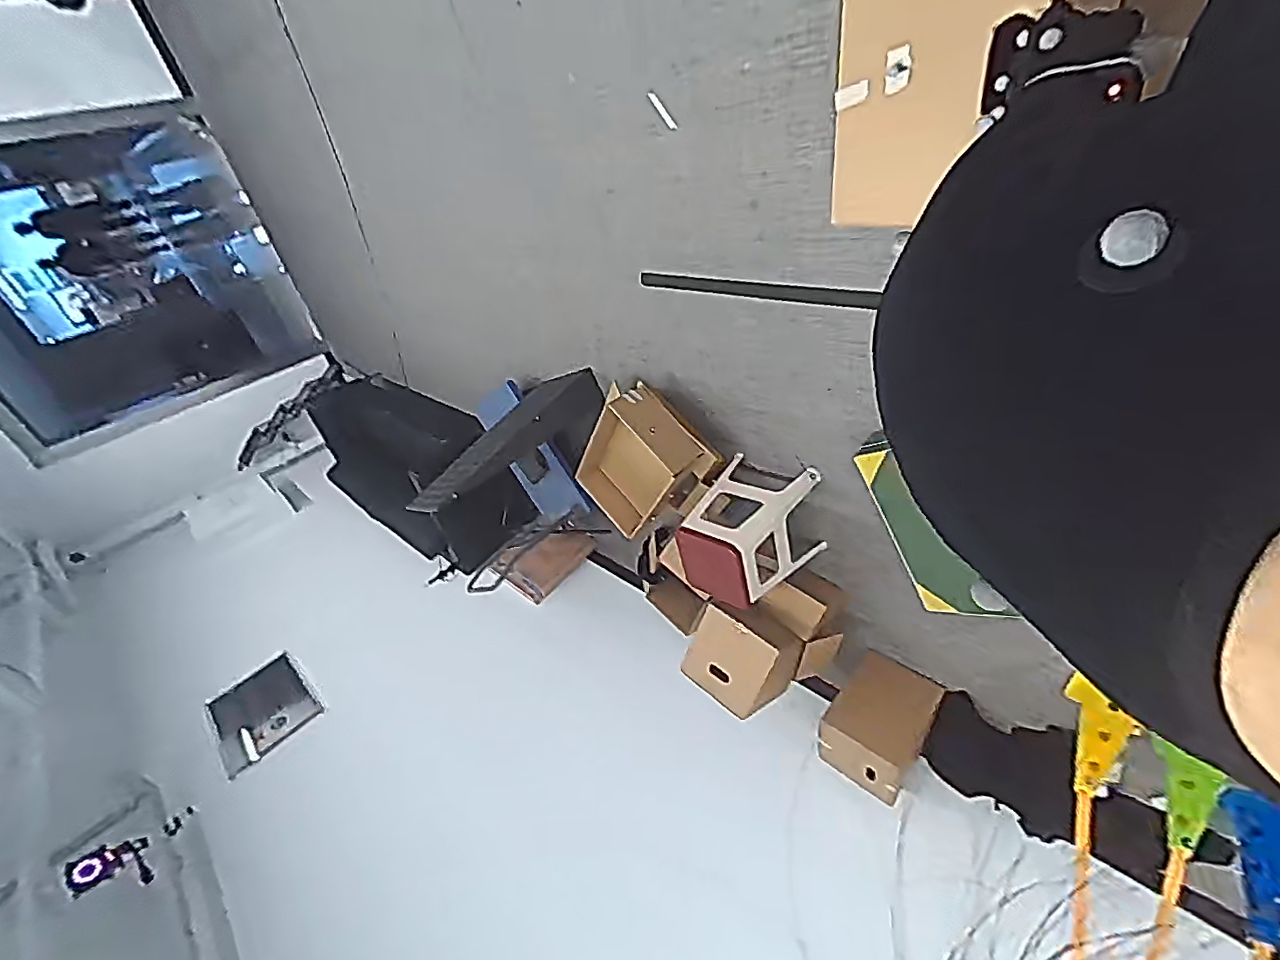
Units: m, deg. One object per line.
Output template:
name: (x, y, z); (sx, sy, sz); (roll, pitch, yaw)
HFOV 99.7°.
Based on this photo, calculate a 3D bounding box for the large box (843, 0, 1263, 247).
large box: (0.527, -0.515, 0.726); (0.320, 0.408, 0.320); (31, 138, 49)
